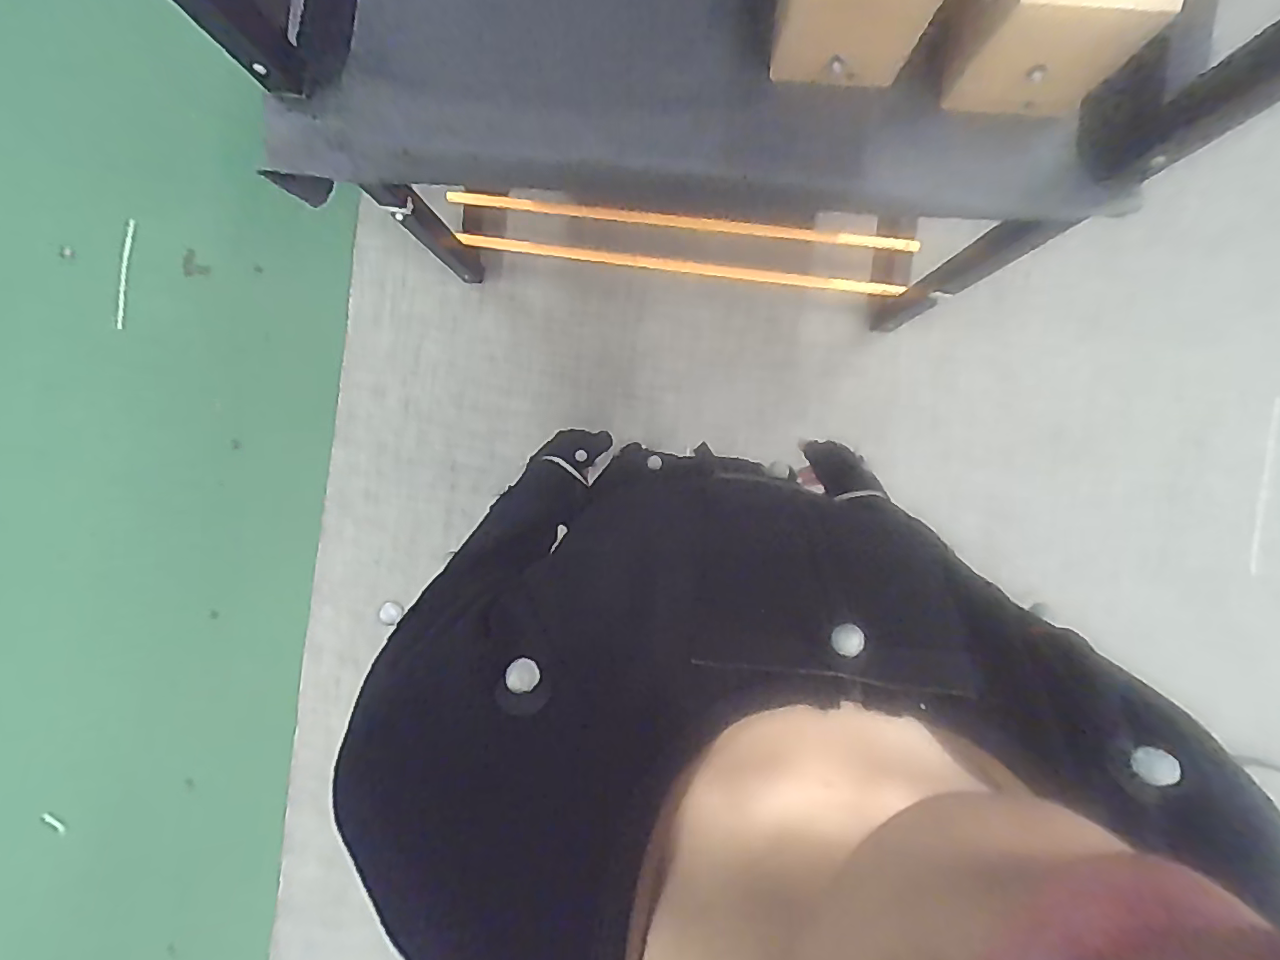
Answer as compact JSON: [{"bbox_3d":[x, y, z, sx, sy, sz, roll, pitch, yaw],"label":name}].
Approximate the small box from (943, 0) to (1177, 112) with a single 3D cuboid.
[{"bbox_3d":[0.488,-0.579,0.644,0.168,0.176,0.179,6,91,2],"label":"small box"}]
